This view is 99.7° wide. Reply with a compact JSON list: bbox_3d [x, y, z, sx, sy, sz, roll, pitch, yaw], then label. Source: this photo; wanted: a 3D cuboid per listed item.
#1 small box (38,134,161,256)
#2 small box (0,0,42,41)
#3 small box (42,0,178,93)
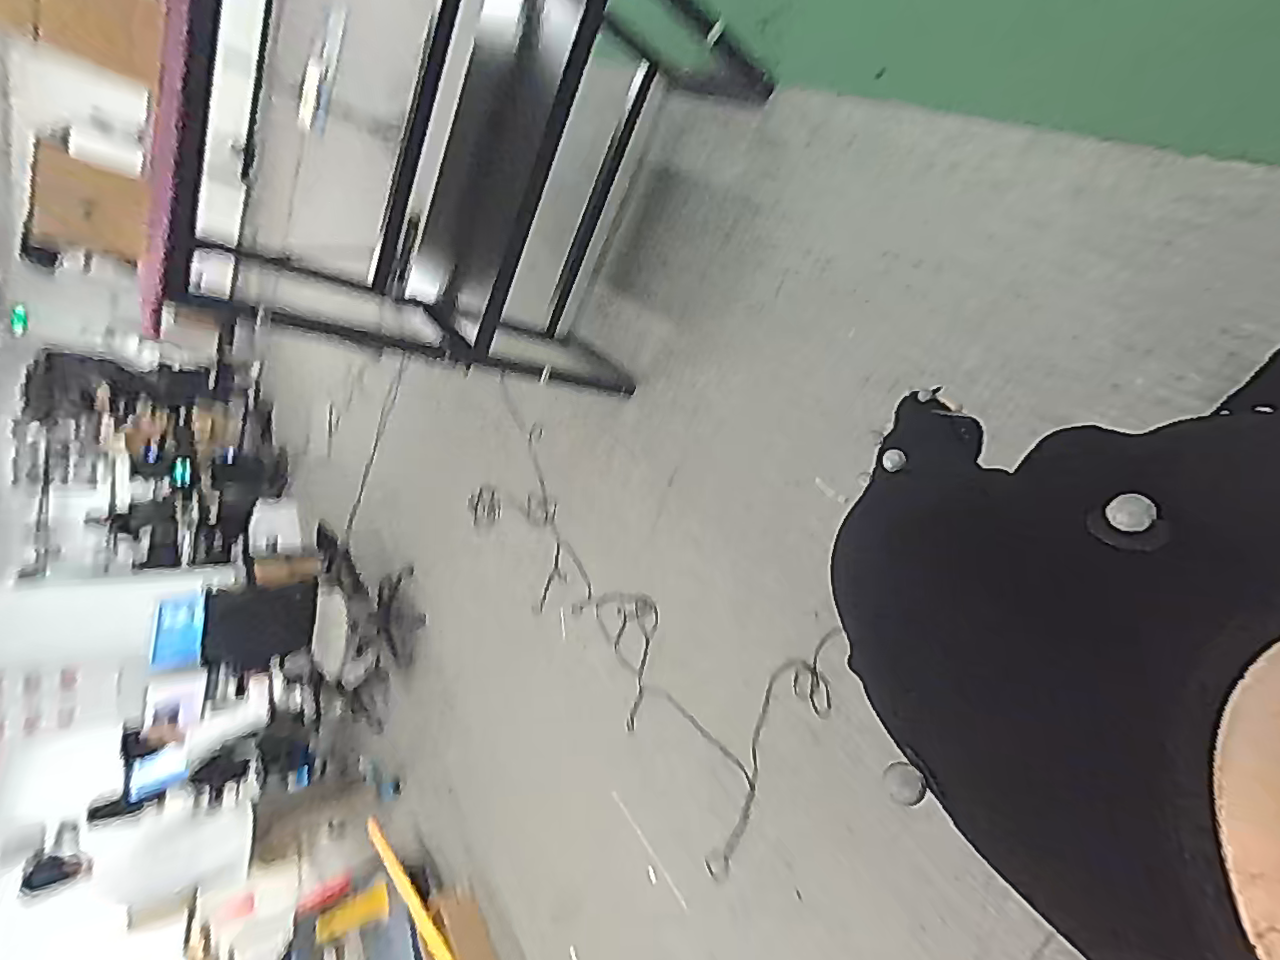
[{"bbox_3d":[-1.109,-0.583,1.116,0.168,0.176,0.179,33,110,39],"label":"small box"},{"bbox_3d":[-1.108,-0.882,0.904,0.168,0.176,0.179,46,117,37],"label":"small box"},{"bbox_3d":[-0.988,-0.870,1.016,0.168,0.176,0.179,46,118,37],"label":"small box"}]
